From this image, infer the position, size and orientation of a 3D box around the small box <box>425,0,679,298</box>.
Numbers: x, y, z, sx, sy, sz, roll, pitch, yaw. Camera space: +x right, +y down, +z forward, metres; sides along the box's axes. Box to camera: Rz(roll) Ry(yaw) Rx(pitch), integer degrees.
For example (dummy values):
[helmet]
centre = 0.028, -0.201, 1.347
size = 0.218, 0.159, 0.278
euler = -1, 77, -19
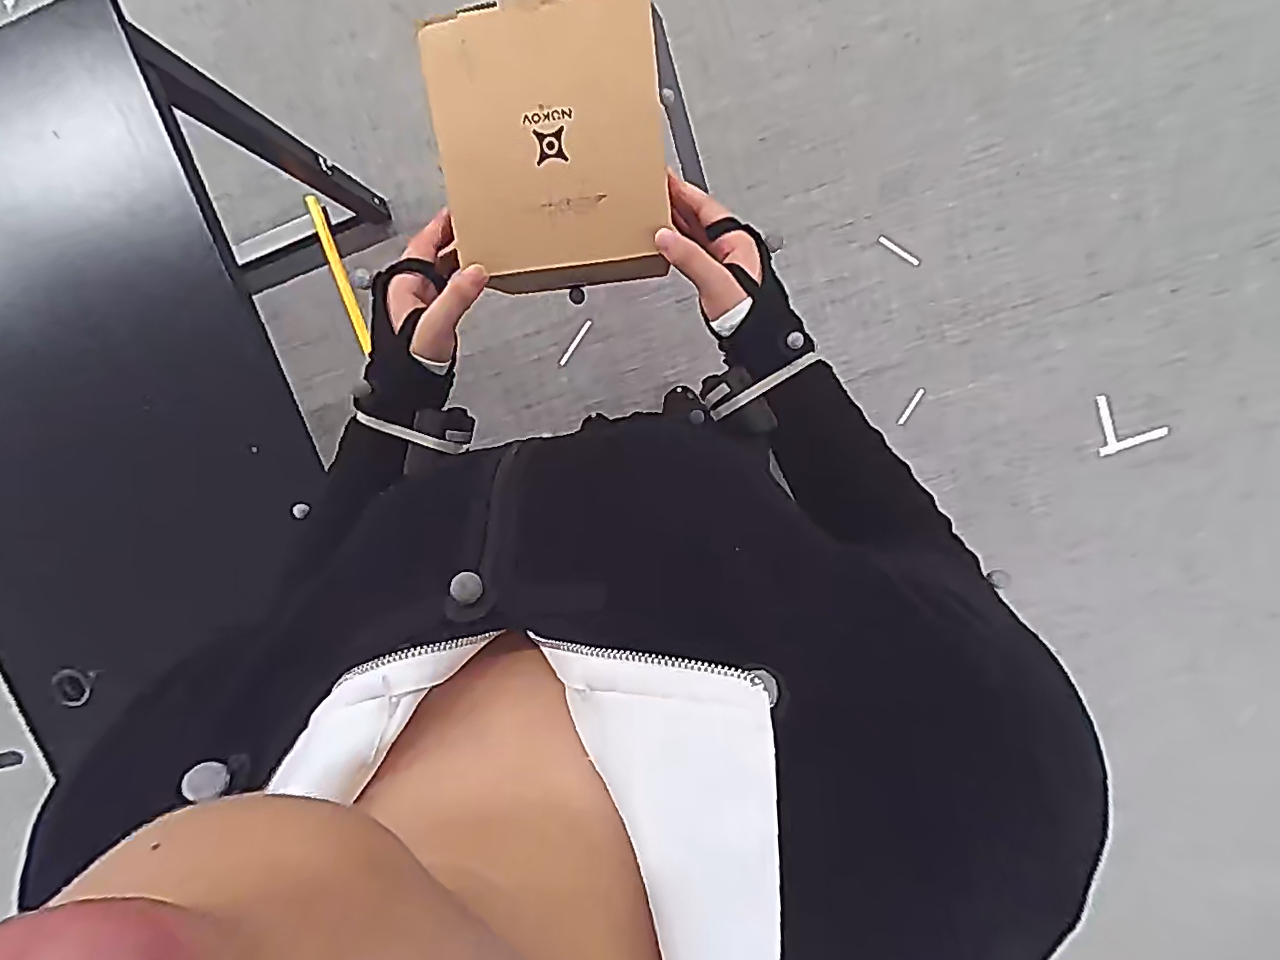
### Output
[small box]
centre = -0.059, -0.262, 0.467
size = 0.168, 0.176, 0.179
euler = -6, 105, 3
